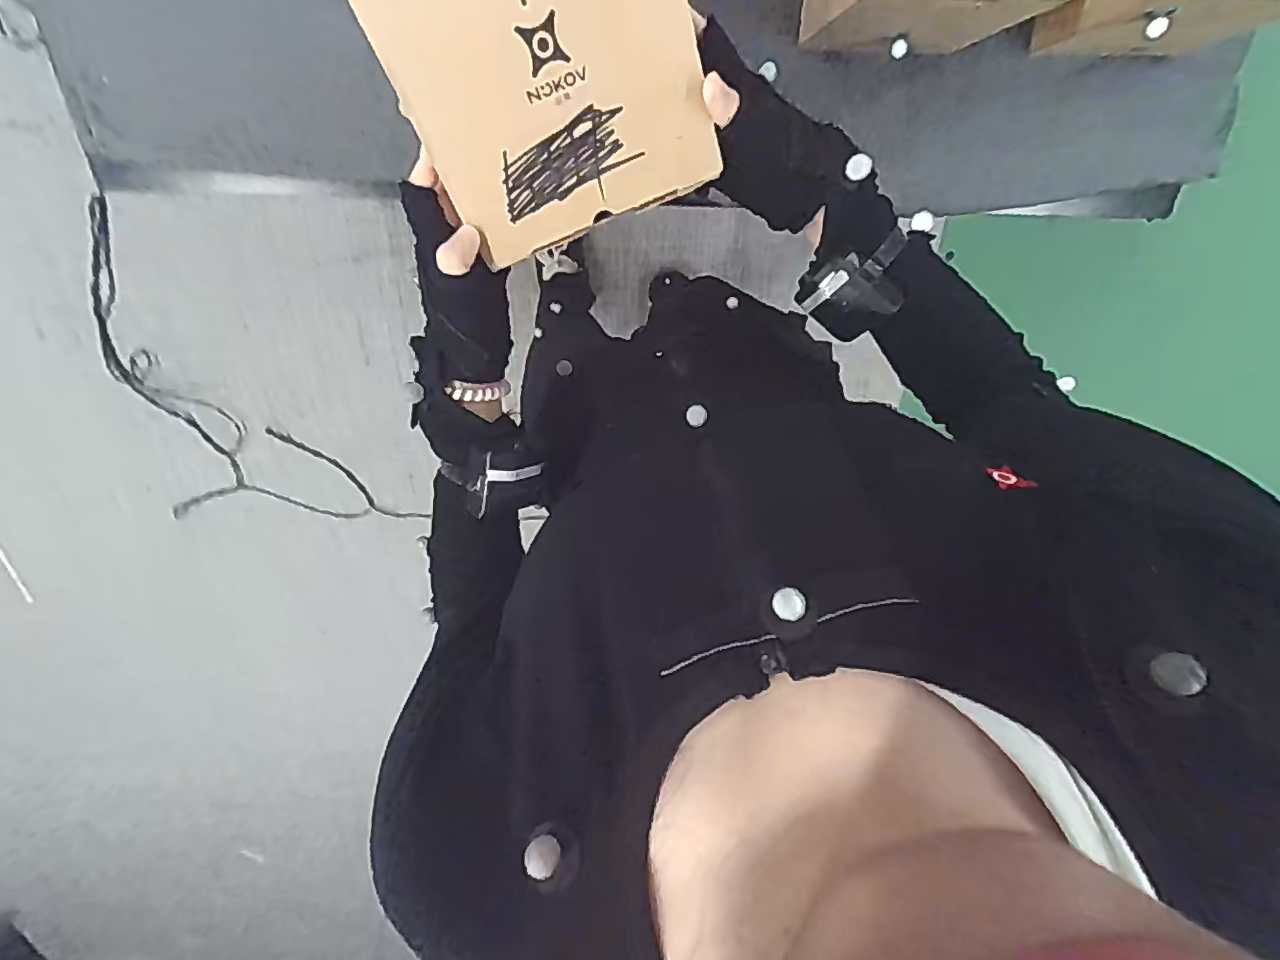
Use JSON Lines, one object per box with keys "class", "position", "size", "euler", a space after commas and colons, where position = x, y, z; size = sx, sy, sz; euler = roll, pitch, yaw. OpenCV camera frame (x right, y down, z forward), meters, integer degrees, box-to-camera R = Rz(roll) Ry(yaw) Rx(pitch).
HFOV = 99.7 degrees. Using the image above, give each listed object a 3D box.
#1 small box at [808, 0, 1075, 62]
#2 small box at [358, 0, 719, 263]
{"class": "small box", "position": [0.254, -0.481, 0.451], "size": [0.168, 0.176, 0.179], "euler": [-2, 116, -4]}
{"class": "small box", "position": [-0.063, -0.276, 0.357], "size": [0.168, 0.176, 0.179], "euler": [-21, 127, 2]}
